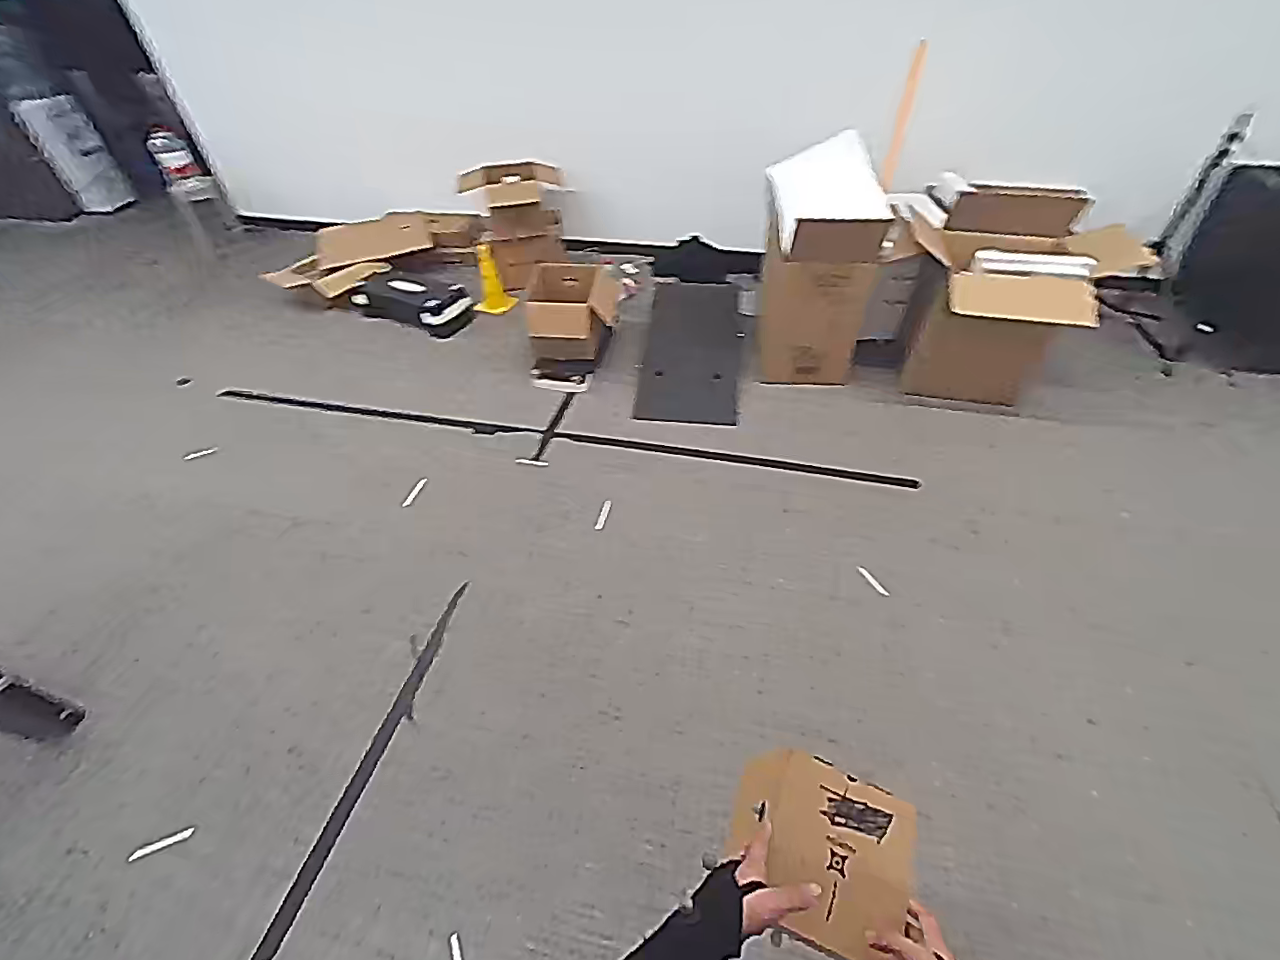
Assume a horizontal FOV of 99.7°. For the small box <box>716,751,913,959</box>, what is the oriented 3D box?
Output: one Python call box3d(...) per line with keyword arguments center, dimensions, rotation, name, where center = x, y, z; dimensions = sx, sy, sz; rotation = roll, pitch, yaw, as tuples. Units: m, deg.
box3d(center=(0.208, 0.468, 0.670), dimensions=(0.168, 0.176, 0.179), rotation=(23, 56, 5), name="small box")
